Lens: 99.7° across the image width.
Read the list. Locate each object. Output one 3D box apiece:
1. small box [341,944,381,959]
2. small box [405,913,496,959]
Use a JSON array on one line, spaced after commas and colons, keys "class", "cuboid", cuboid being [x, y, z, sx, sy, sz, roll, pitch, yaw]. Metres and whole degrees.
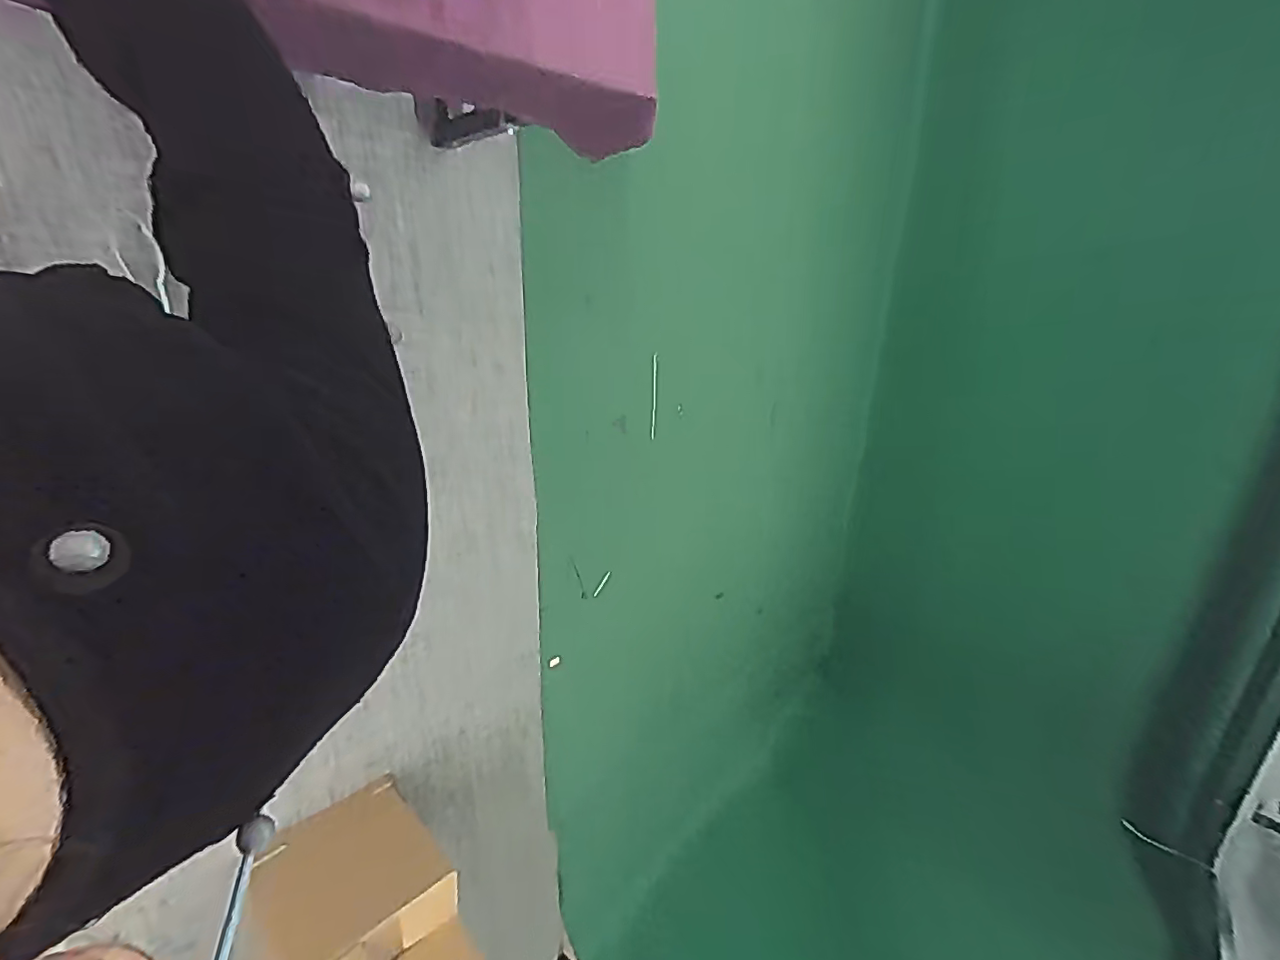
[{"class": "small box", "cuboid": [-0.662, 1.224, 1.233, 0.168, 0.176, 0.179, -15, 115, -44]}, {"class": "small box", "cuboid": [-0.509, 1.322, 1.441, 0.179, 0.176, 0.168, -4, 107, -46]}]
